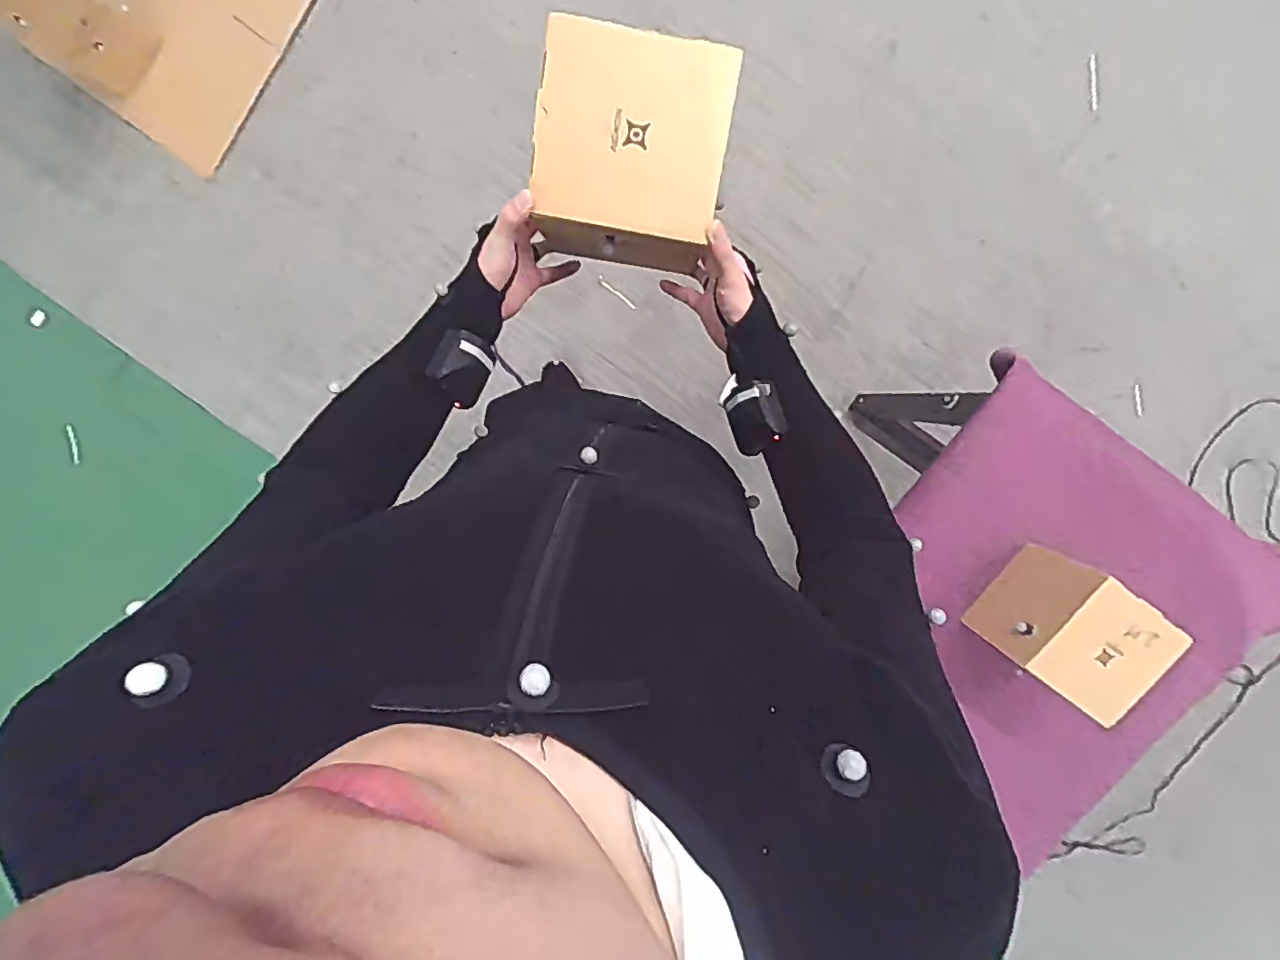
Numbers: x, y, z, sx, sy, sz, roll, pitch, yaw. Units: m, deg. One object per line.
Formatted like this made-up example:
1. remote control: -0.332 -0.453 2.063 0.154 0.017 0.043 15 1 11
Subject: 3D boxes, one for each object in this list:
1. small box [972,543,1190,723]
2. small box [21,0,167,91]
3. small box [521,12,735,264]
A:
1. small box: 0.667 0.228 0.849 0.168 0.176 0.179 36 98 -5
2. small box: -1.387 -1.160 1.387 0.168 0.176 0.179 41 97 -5
3. small box: -0.012 -0.335 0.569 0.179 0.176 0.168 9 103 0
